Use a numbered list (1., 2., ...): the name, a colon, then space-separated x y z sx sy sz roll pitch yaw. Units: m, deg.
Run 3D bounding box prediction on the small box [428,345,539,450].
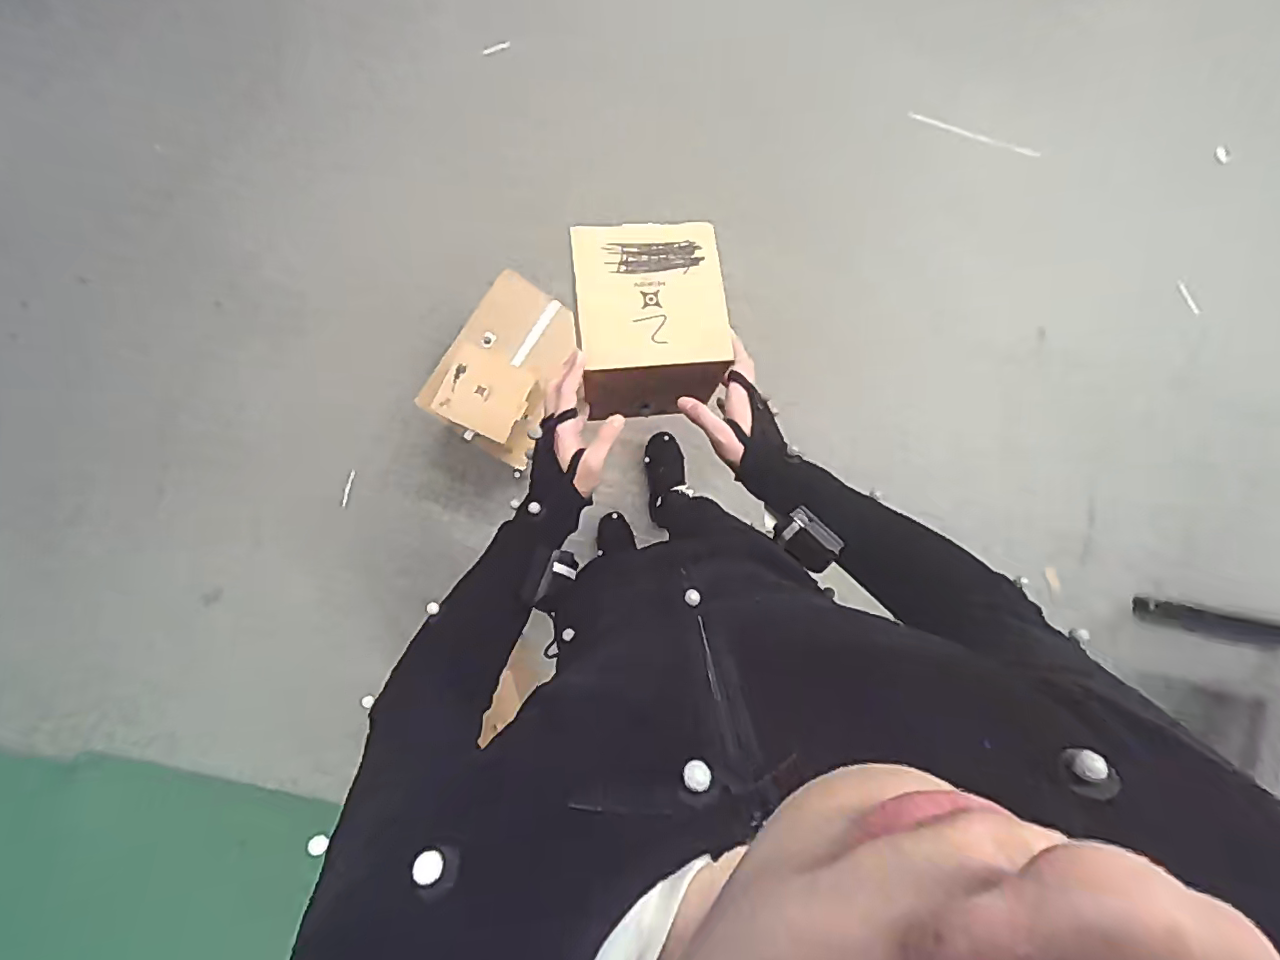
1. small box: -0.340 -0.176 1.219 0.179 0.176 0.168 25 85 -5
